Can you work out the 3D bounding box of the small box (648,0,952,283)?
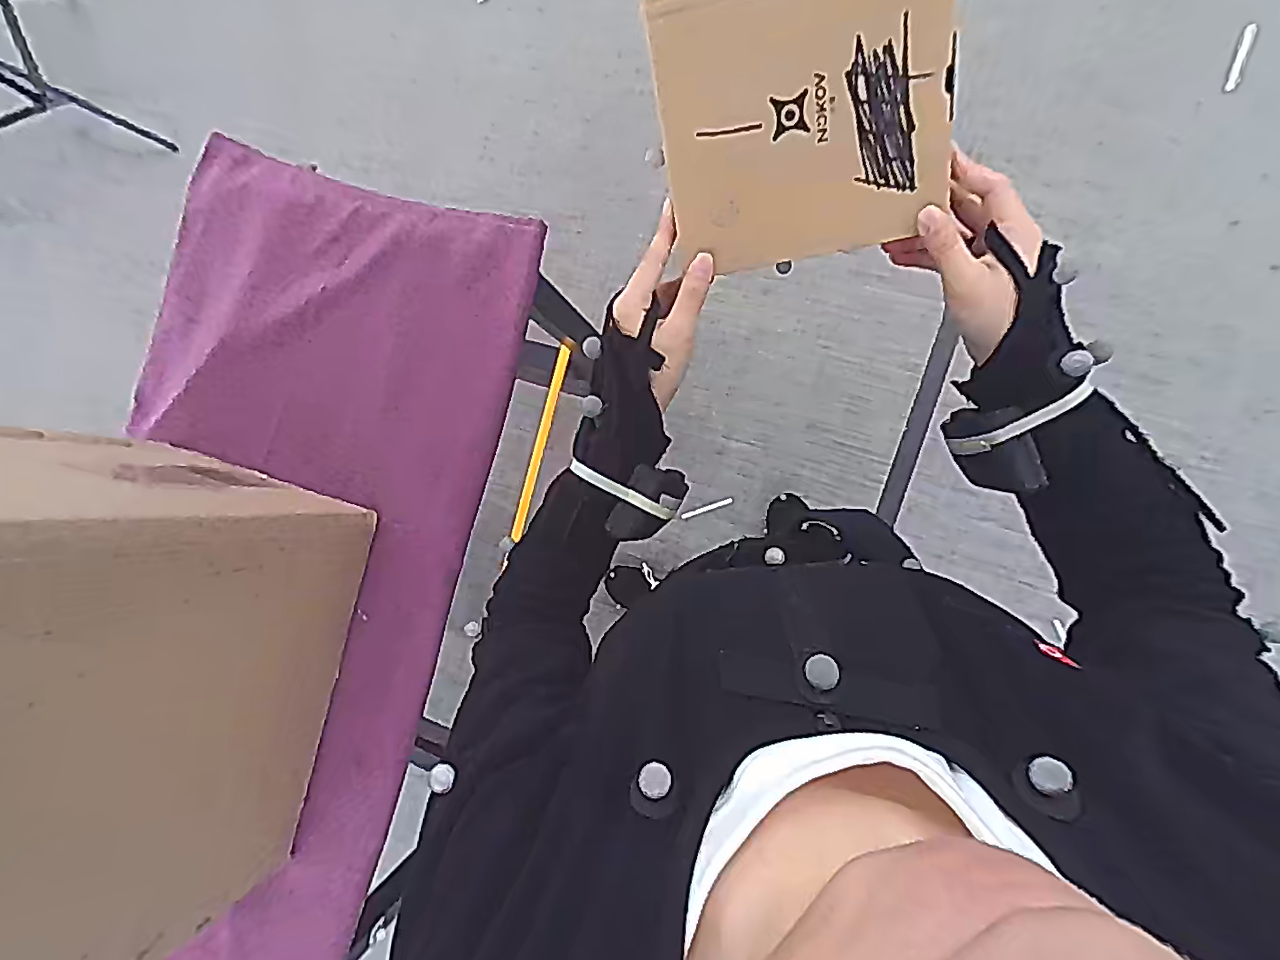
[{"bbox_3d":[0.108,-0.258,0.410,0.179,0.176,0.168,-8,114,9],"label":"small box"}]
